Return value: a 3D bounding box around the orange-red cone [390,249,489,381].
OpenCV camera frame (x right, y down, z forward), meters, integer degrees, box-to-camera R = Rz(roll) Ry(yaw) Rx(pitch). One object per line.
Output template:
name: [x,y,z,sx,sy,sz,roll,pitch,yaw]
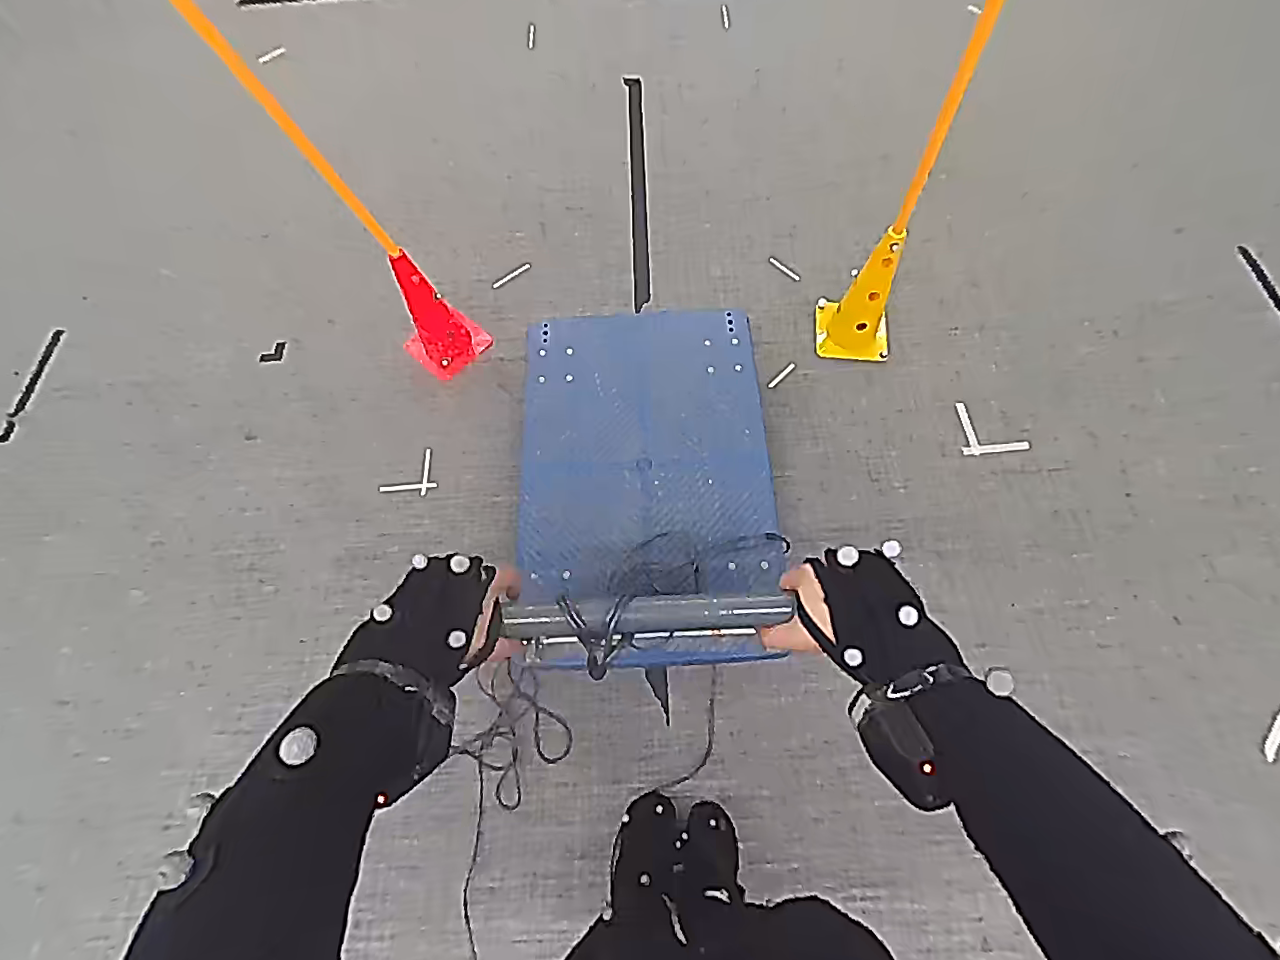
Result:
orange-red cone: [-0.579,-0.471,1.455,0.198,0.360,0.199,40,73,16]
